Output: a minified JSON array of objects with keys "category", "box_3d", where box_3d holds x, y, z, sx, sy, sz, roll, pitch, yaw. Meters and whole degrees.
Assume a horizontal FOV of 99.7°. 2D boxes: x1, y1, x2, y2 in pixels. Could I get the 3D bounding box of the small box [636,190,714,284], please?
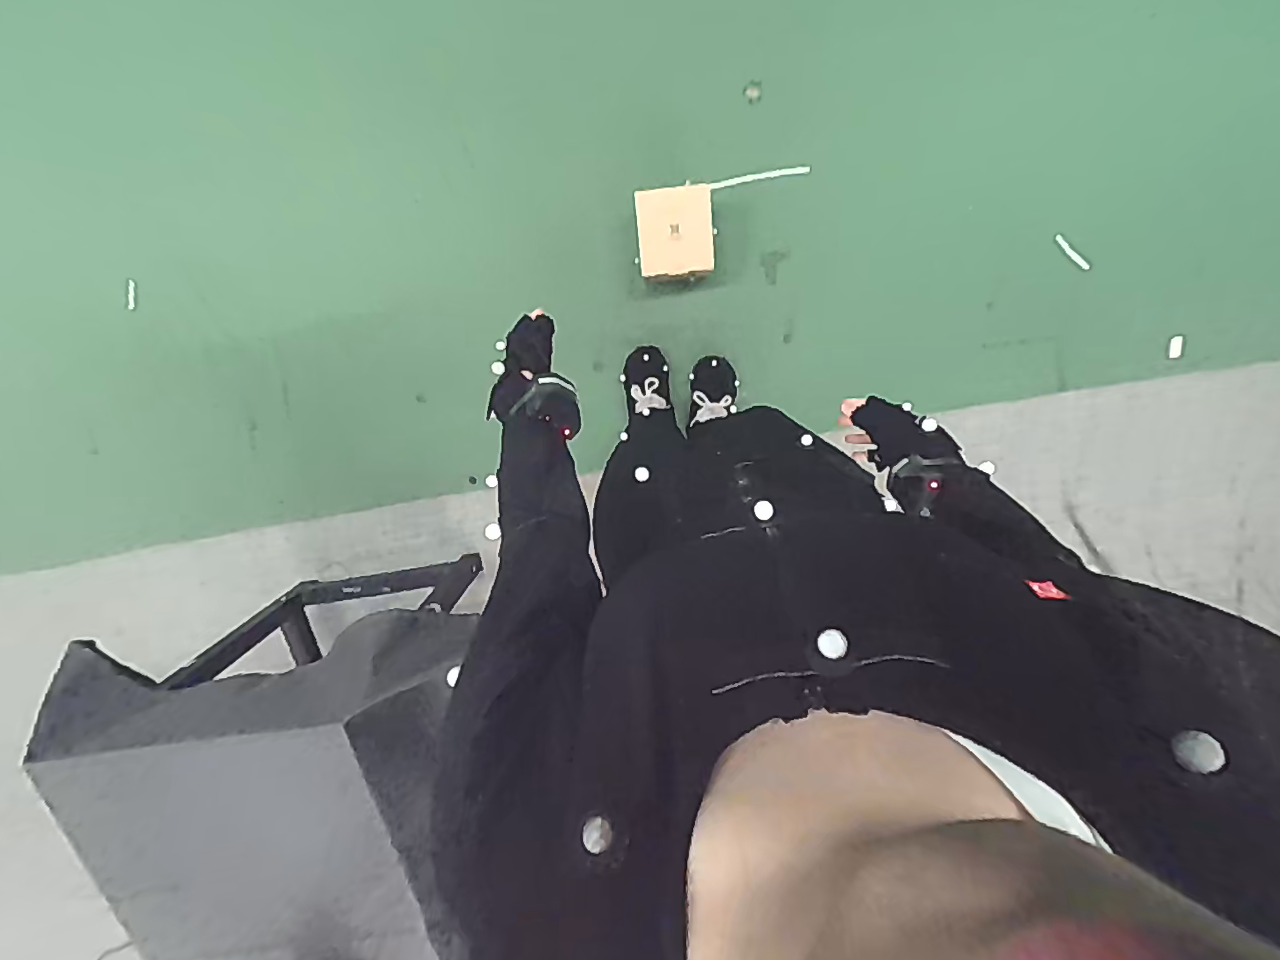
[{"category":"small box","box_3d":[0.083,-0.561,1.271,0.168,0.176,0.179,-5,105,4]}]
